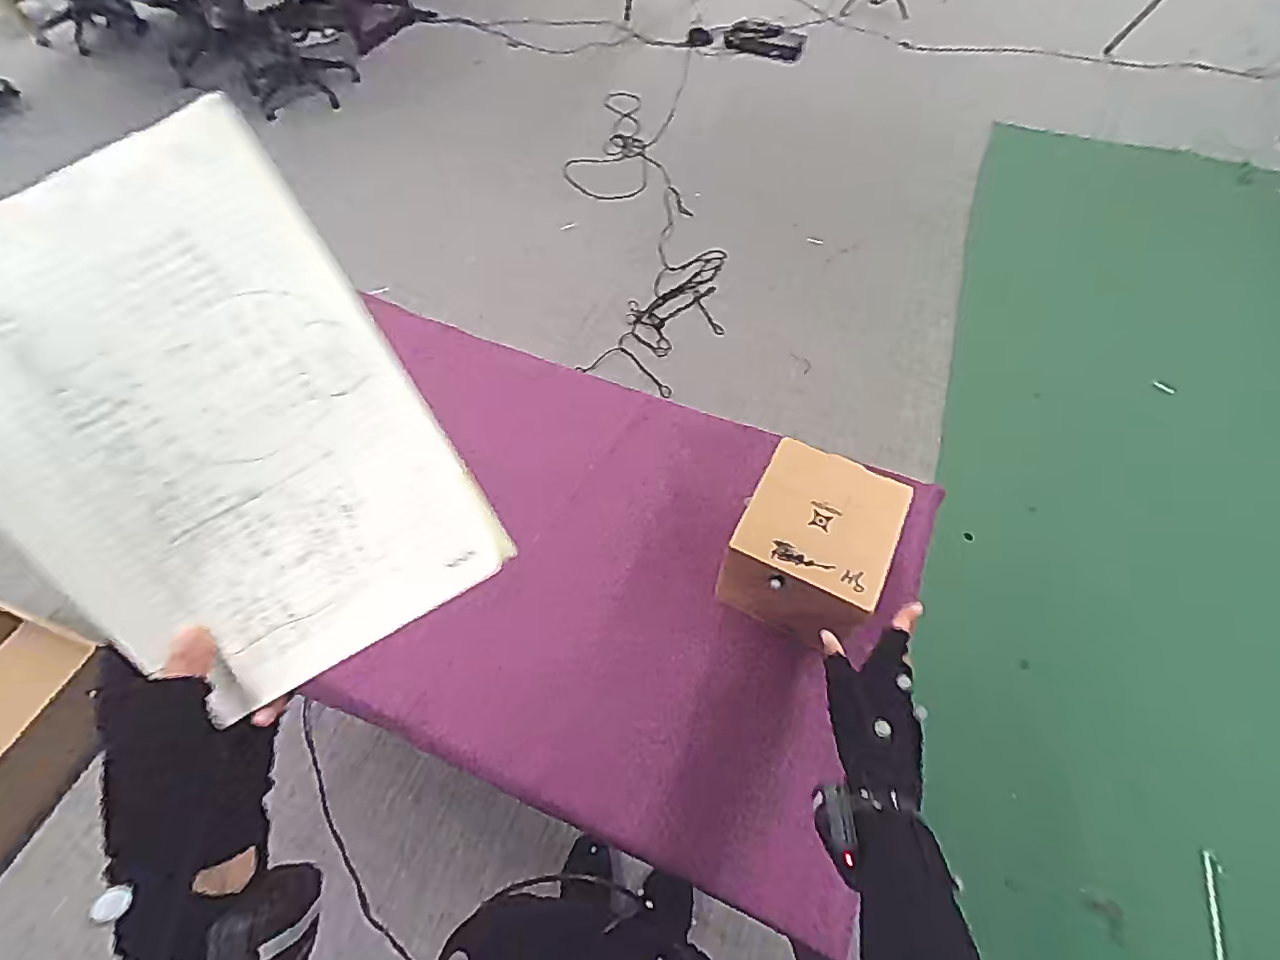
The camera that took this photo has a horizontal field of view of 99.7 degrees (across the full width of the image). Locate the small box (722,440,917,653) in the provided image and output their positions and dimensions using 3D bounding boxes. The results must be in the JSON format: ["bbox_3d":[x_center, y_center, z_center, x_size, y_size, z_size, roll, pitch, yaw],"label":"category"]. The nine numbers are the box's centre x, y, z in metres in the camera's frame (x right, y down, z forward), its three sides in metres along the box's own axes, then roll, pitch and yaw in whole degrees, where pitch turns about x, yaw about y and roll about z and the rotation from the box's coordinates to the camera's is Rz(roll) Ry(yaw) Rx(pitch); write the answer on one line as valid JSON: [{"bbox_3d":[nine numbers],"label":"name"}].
[{"bbox_3d":[0.215,0.087,0.683,0.168,0.176,0.179,25,61,16],"label":"small box"}]
